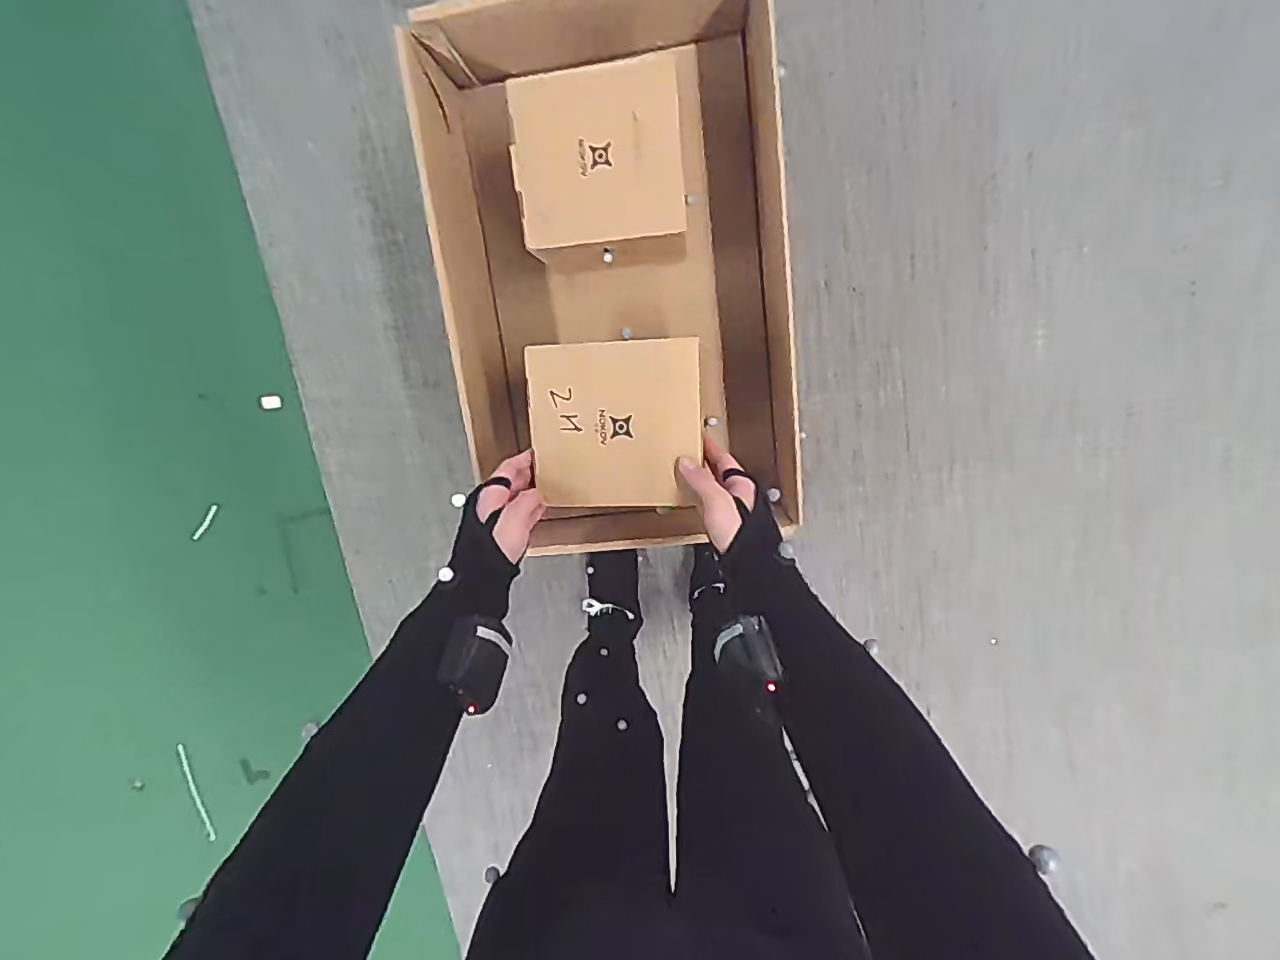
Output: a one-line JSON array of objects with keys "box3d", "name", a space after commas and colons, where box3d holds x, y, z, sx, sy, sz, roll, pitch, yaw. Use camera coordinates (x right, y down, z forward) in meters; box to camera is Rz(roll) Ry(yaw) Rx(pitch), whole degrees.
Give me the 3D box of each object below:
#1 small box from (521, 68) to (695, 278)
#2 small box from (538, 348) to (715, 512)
[{"box3d": [-0.025, -0.341, 0.636, 0.179, 0.176, 0.168, -3, 102, 5], "name": "small box"}, {"box3d": [-0.005, -0.064, 0.617, 0.179, 0.176, 0.168, 0, 101, 8], "name": "small box"}]
